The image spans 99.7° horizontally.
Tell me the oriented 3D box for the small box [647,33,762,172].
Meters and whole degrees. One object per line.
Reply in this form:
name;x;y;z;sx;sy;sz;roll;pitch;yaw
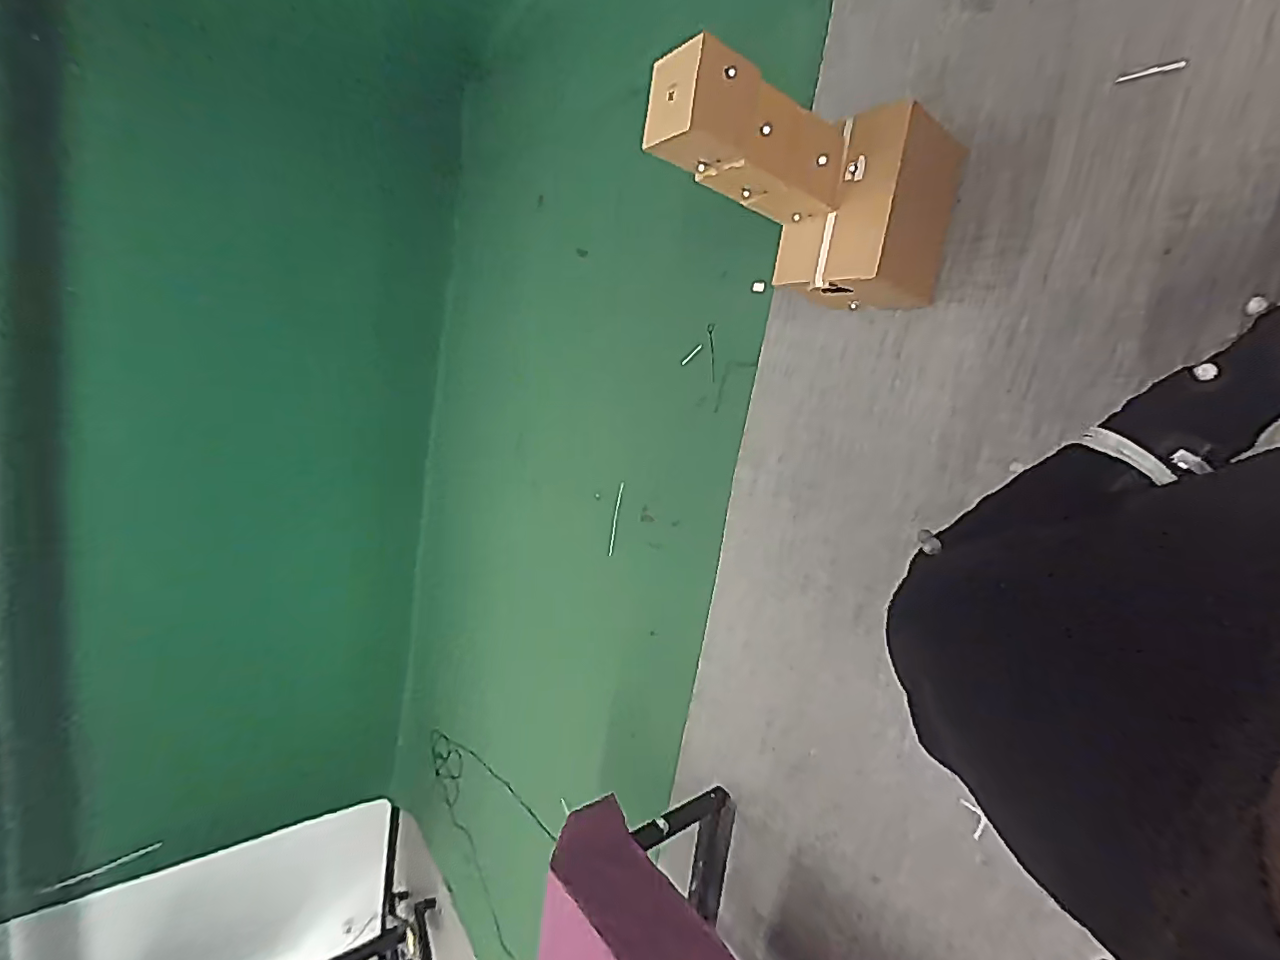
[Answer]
small box;0.141;-0.799;1.167;0.168;0.176;0.179;23;108;52

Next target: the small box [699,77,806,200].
small box;0.267;-0.789;1.270;0.168;0.176;0.179;20;105;52

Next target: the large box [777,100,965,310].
large box;0.624;-0.705;1.475;0.320;0.320;0.408;19;103;49
